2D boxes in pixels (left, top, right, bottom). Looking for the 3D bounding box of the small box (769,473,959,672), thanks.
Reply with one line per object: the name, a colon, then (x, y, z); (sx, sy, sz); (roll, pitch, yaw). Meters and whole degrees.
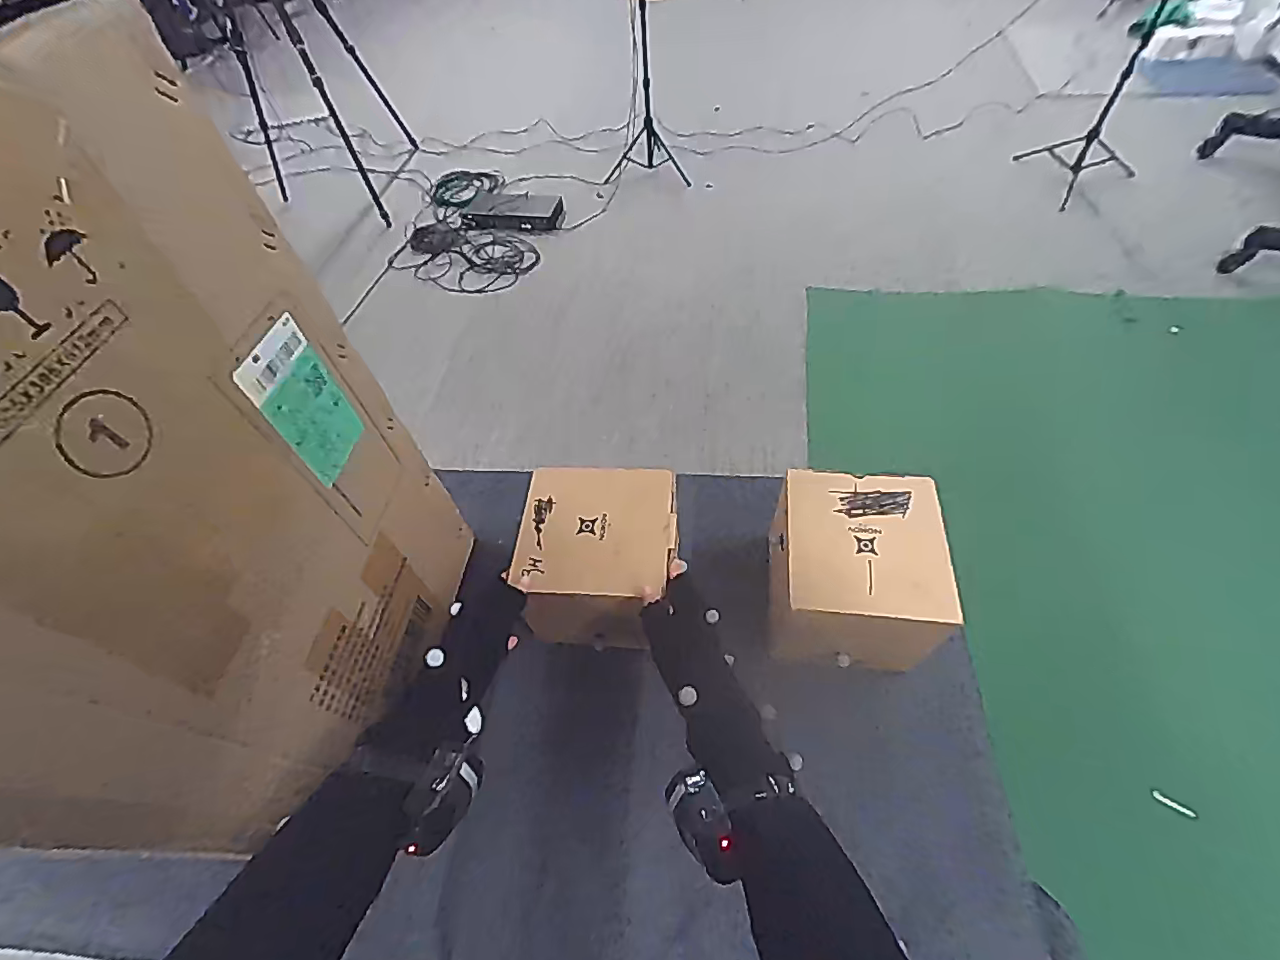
small box: (0.249, 0.113, 0.653); (0.168, 0.176, 0.179); (4, 56, 7)
